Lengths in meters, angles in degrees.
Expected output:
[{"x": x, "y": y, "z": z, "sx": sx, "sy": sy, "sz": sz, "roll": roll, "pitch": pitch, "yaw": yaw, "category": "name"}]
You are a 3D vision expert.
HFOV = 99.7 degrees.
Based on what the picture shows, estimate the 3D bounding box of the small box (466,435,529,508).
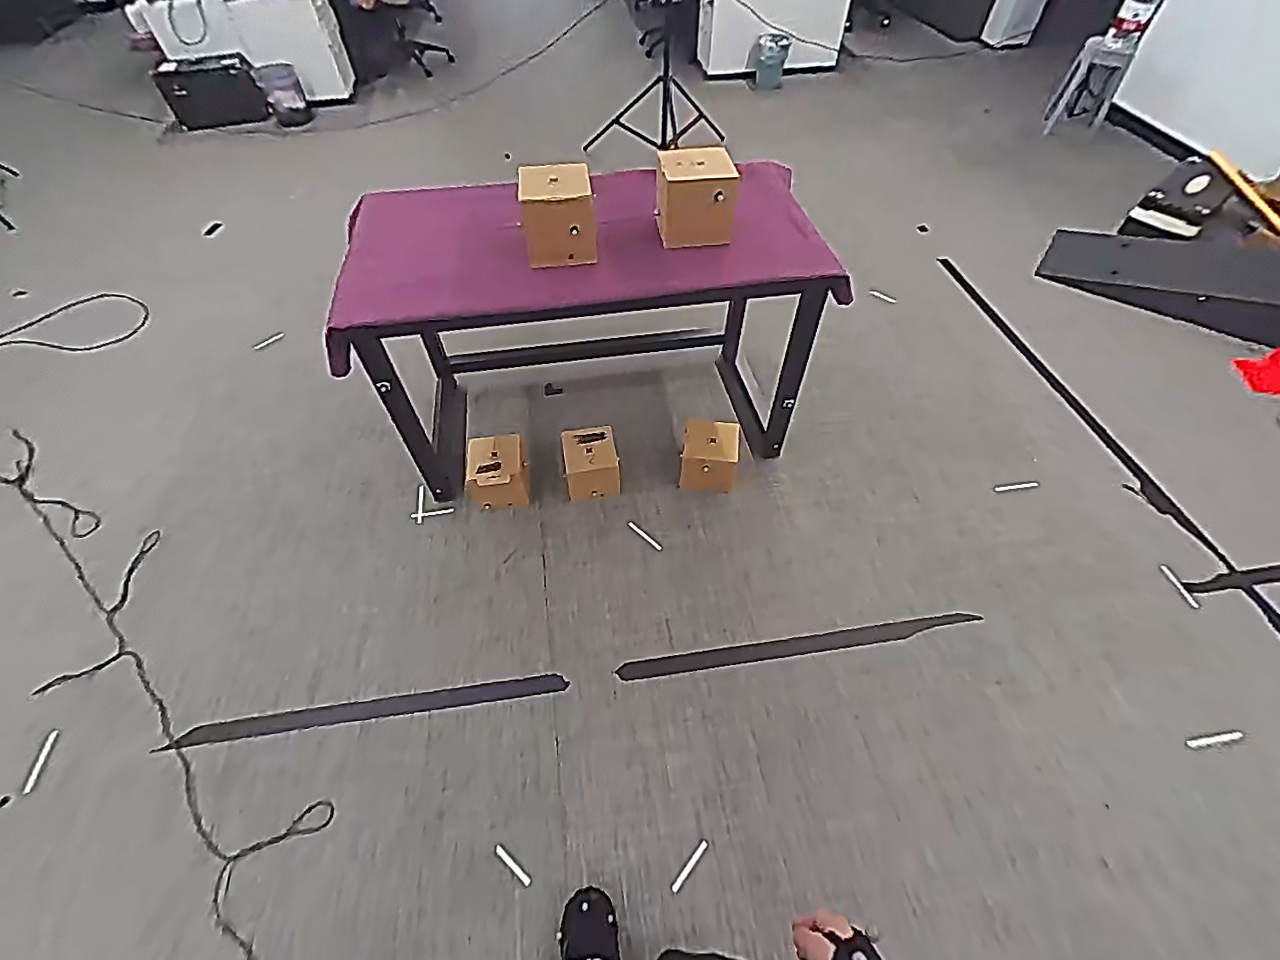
[{"x": -0.460, "y": -0.020, "z": 1.767, "sx": 0.168, "sy": 0.176, "sz": 0.179, "roll": -7, "pitch": 52, "yaw": -5, "category": "small box"}]

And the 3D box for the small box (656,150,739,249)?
[{"x": 0.137, "y": -0.706, "z": 1.366, "sx": 0.179, "sy": 0.176, "sz": 0.168, "roll": -7, "pitch": 53, "yaw": -4, "category": "small box"}]

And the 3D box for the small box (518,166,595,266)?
[{"x": -0.202, "y": -0.637, "z": 1.318, "sx": 0.168, "sy": 0.176, "sz": 0.179, "roll": -6, "pitch": 51, "yaw": -6, "category": "small box"}]

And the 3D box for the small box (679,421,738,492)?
[{"x": 0.228, "y": -0.076, "z": 1.807, "sx": 0.179, "sy": 0.176, "sz": 0.168, "roll": 5, "pitch": 54, "yaw": 6, "category": "small box"}]
